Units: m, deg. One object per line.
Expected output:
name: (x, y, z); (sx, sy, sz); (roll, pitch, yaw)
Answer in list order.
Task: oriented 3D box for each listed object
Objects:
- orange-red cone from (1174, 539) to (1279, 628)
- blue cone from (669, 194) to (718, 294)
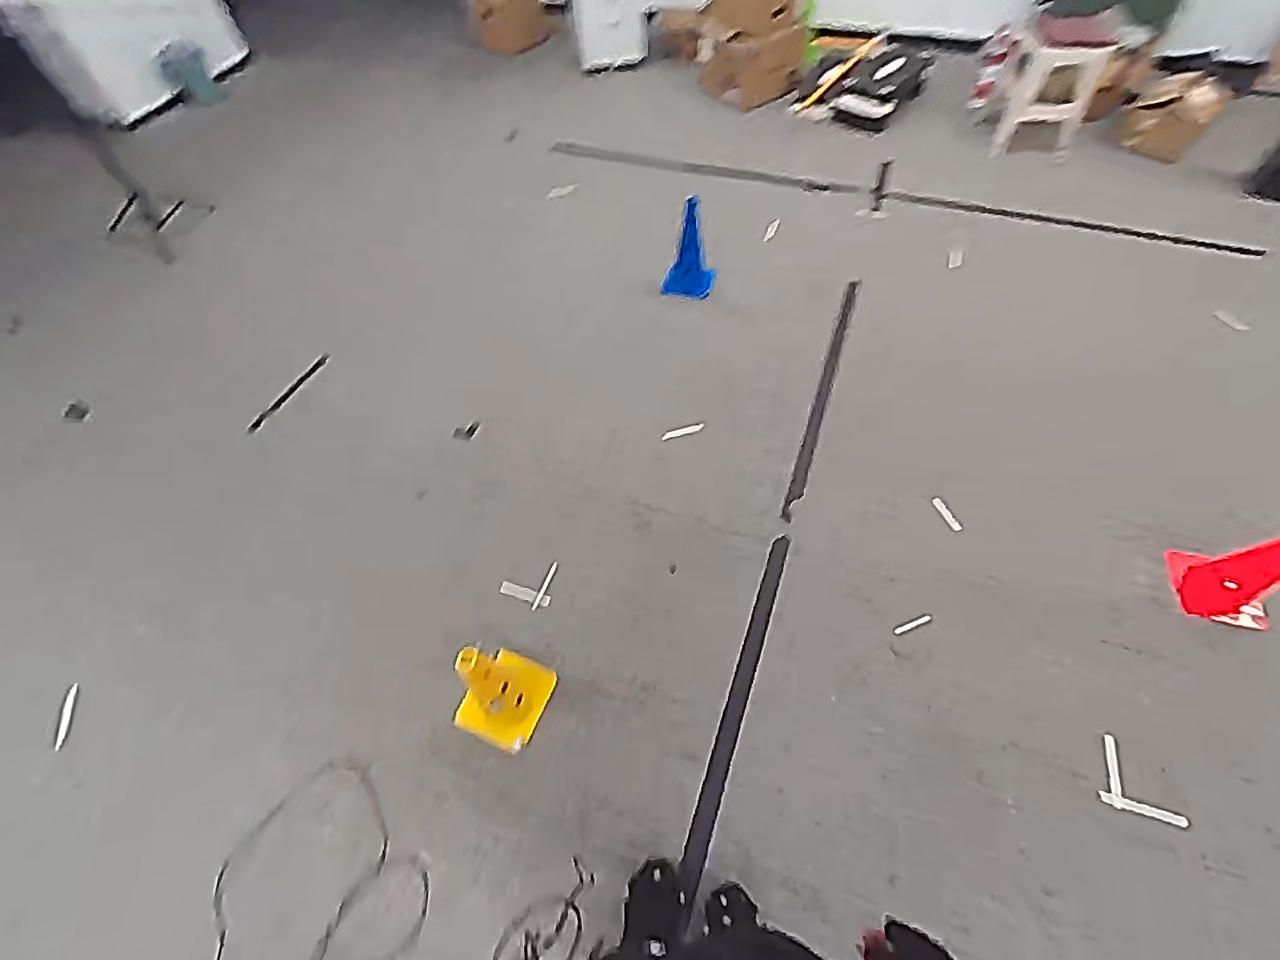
orange-red cone: (1.581, 0.193, 1.334); (0.198, 0.360, 0.199); (14, 56, 10)
blue cone: (0.221, -0.950, 2.158); (0.192, 0.380, 0.193); (13, 57, 10)
